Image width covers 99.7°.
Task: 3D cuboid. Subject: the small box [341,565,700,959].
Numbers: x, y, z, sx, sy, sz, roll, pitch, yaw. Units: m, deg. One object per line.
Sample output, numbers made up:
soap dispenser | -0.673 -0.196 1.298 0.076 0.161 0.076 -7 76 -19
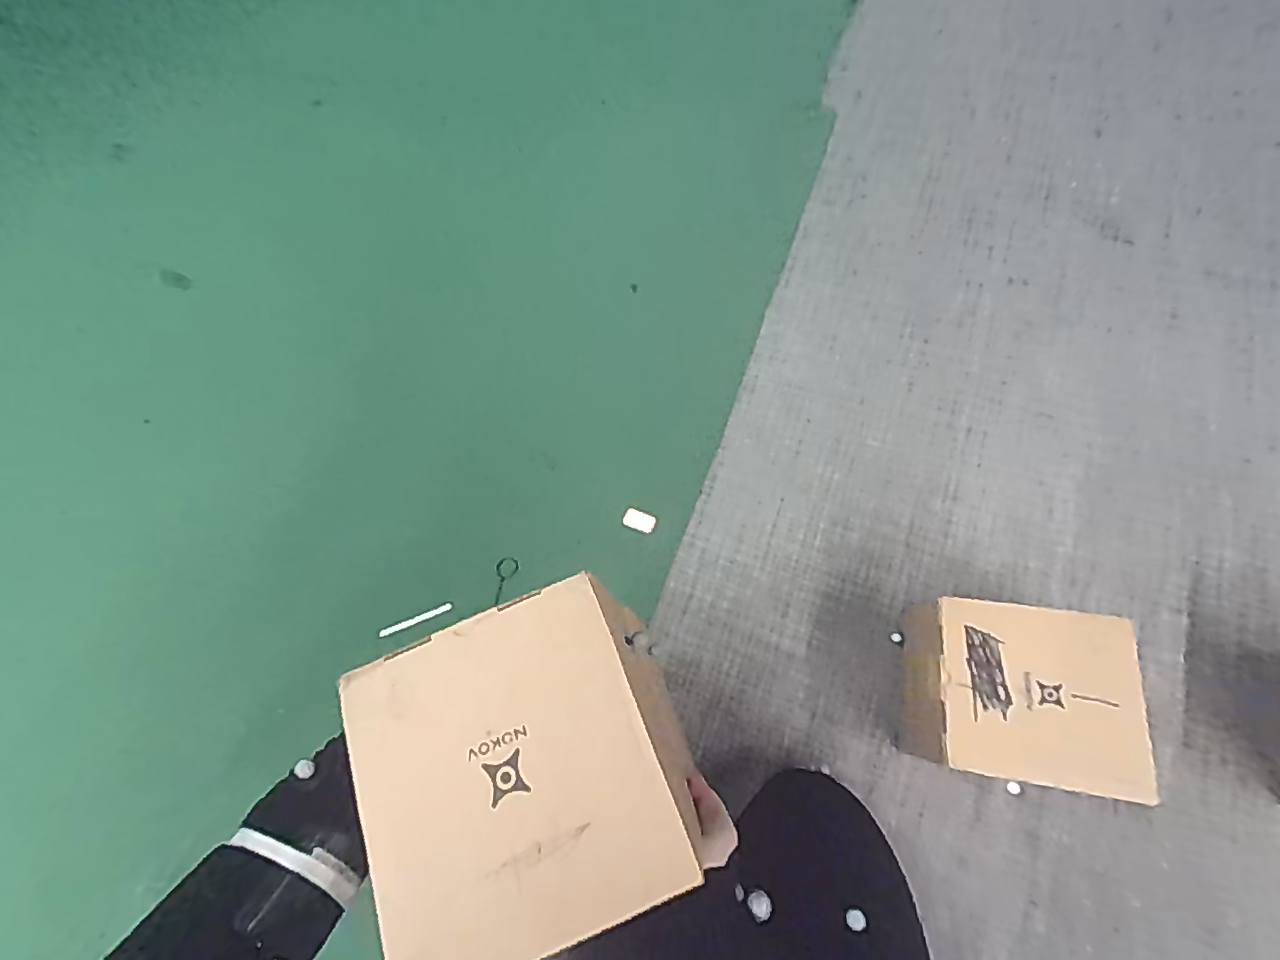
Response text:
small box | -0.069 0.185 0.375 0.168 0.176 0.179 -23 68 -3

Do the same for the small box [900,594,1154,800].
small box | 0.398 0.233 0.598 0.179 0.176 0.168 5 69 12
